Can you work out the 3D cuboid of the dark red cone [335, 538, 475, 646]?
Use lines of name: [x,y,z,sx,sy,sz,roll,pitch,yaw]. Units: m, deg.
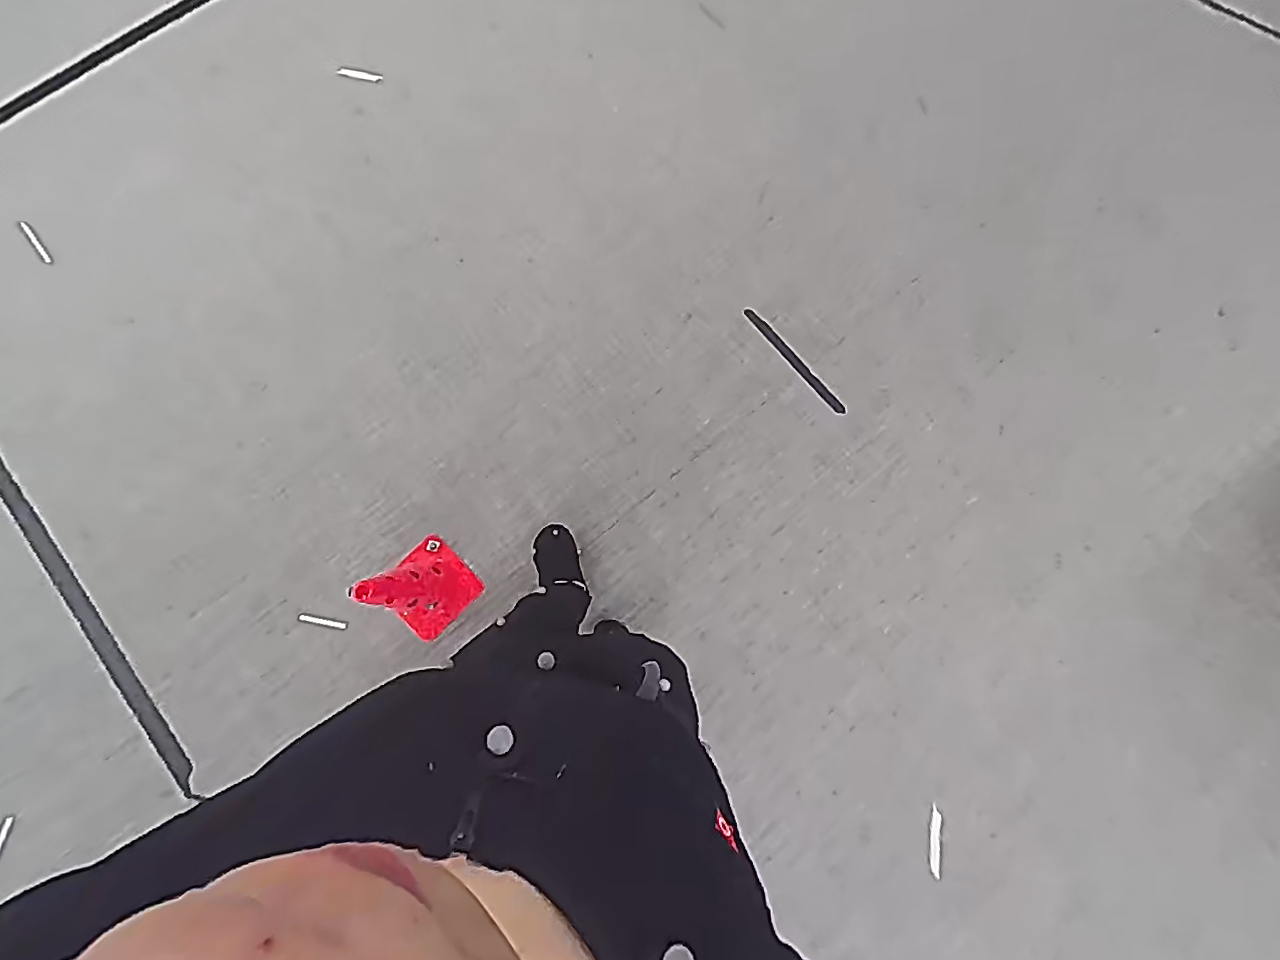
dark red cone: [-0.525,0.245,1.150,0.202,0.394,0.201,43,84,6]
